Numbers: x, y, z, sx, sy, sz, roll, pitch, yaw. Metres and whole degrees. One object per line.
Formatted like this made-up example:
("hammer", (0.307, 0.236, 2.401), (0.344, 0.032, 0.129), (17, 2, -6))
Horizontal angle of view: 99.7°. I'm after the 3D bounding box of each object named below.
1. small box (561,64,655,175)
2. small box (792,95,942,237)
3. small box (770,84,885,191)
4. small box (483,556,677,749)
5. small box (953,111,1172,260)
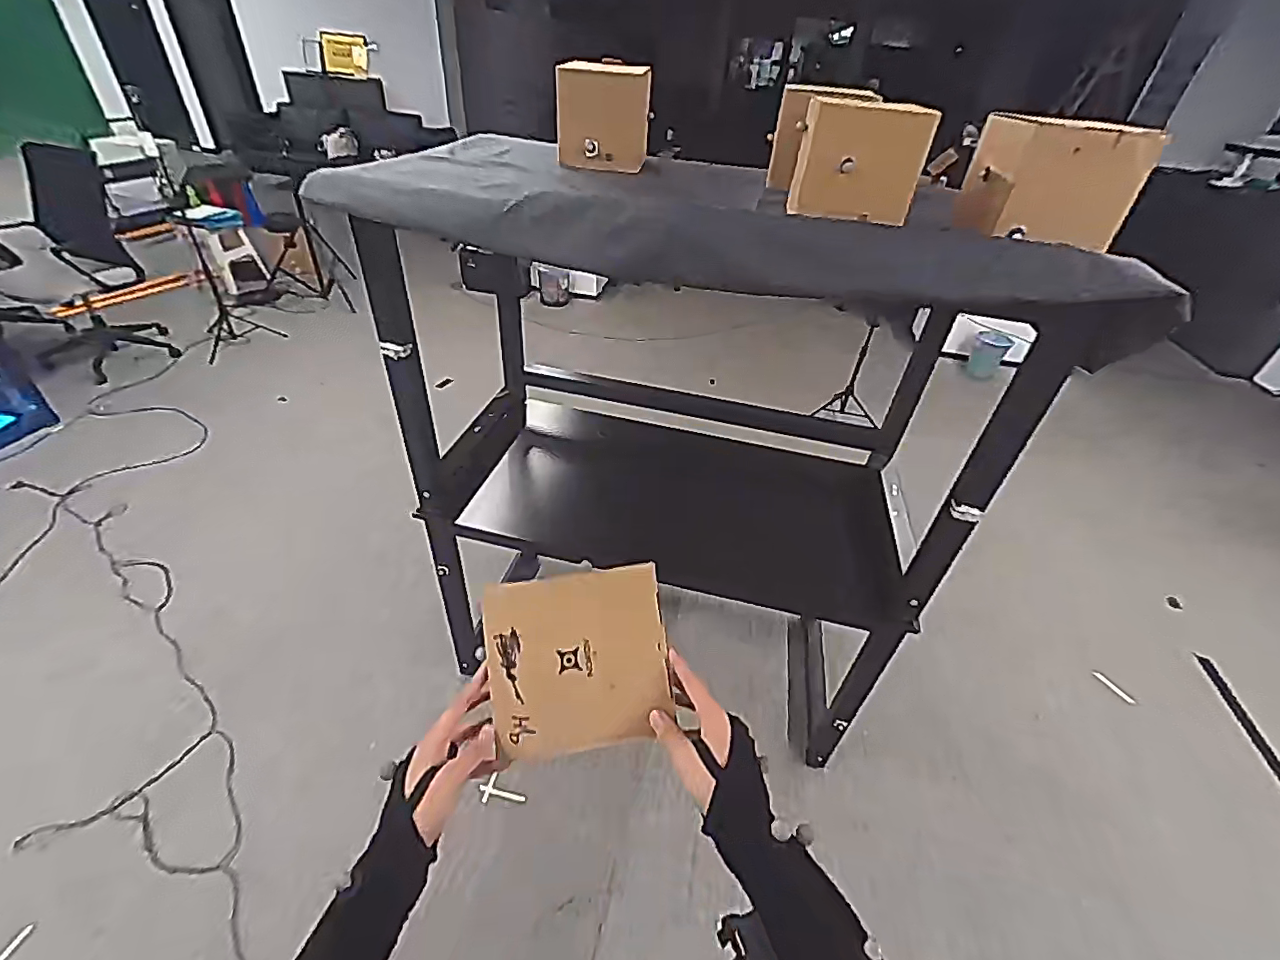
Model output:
("small box", (-0.063, -0.745, 1.116), (0.168, 0.176, 0.179), (6, 39, 3))
("small box", (0.341, -0.495, 0.851), (0.168, 0.176, 0.179), (10, 38, 6))
("small box", (0.363, -0.675, 1.076), (0.179, 0.176, 0.168), (11, 40, 8))
("small box", (-0.065, 0.176, 0.603), (0.179, 0.176, 0.168), (-7, 81, -5))
("small box", (0.607, -0.440, 0.808), (0.168, 0.176, 0.179), (8, 37, 4))
